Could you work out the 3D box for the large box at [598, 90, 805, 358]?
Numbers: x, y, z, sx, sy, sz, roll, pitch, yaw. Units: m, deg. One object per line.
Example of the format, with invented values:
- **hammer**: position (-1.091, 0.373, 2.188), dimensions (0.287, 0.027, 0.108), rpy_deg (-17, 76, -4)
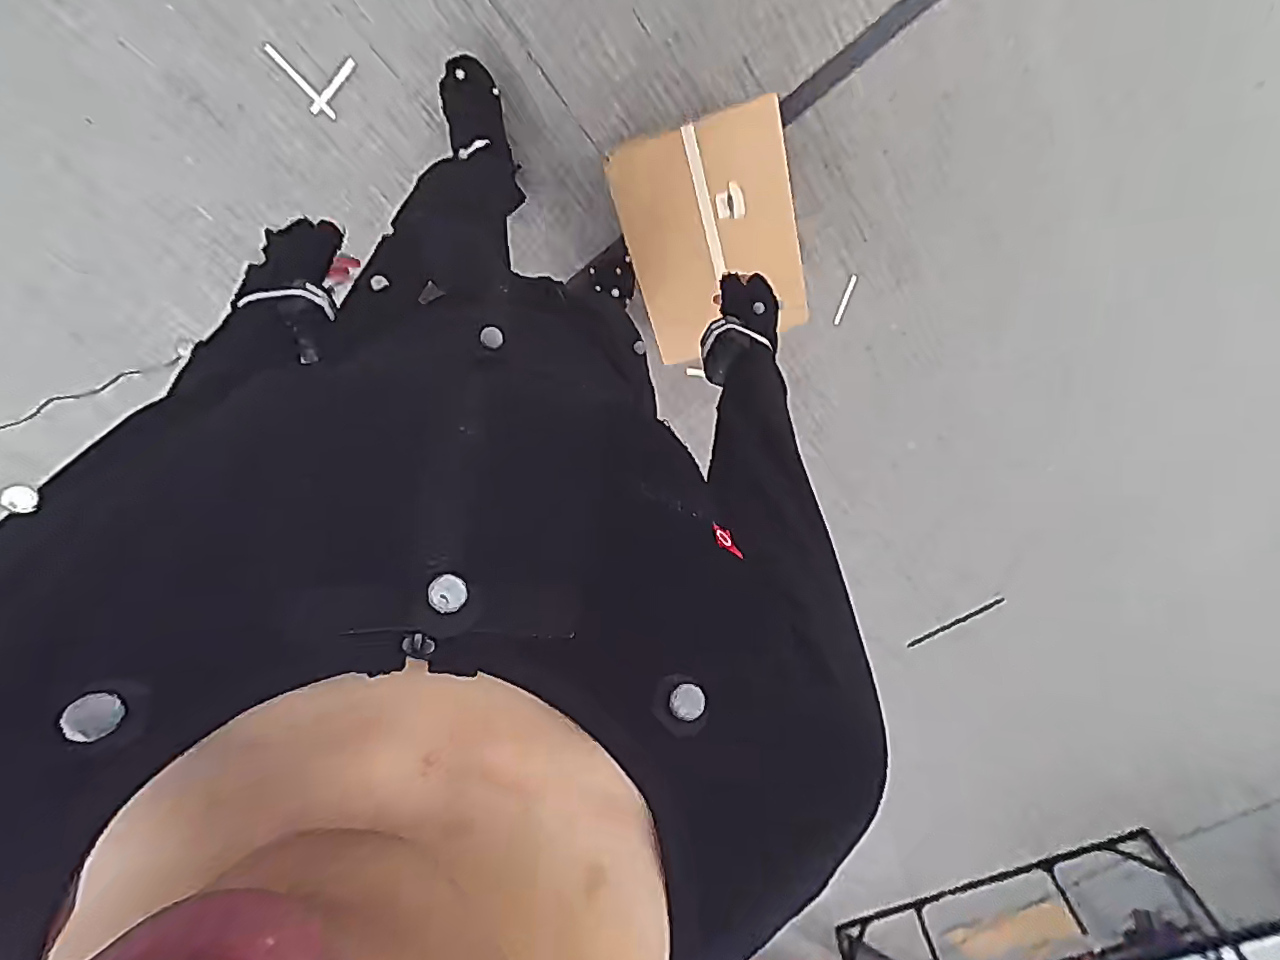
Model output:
- **large box**: position (0.129, -0.535, 1.152), dimensions (0.320, 0.320, 0.408), rpy_deg (-16, 122, 8)
